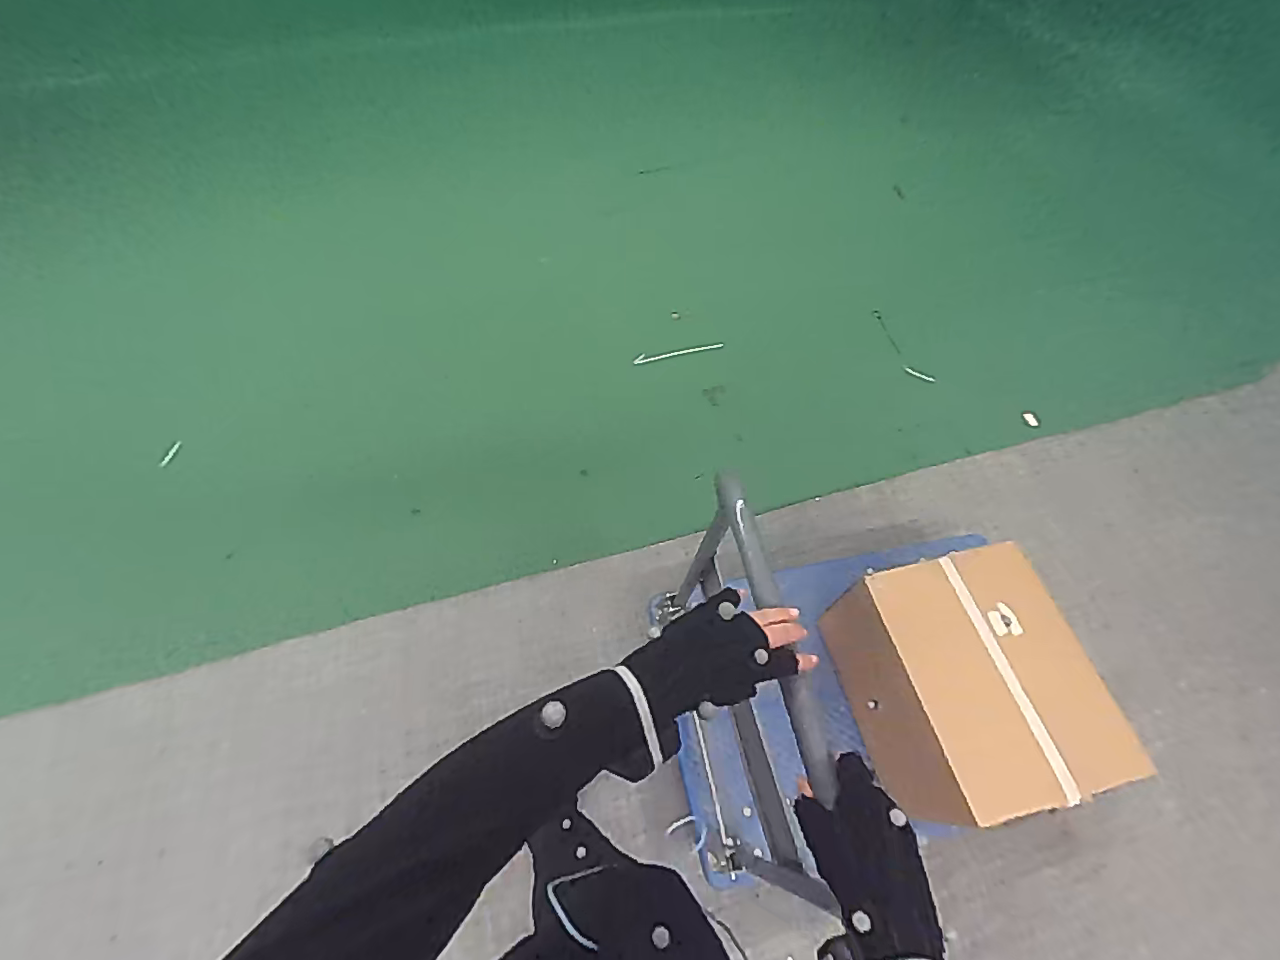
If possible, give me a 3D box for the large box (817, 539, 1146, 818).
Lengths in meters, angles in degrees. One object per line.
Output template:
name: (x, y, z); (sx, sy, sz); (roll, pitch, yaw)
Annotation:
large box: (0.601, 0.385, 1.051); (0.320, 0.320, 0.408); (-12, 60, -7)
